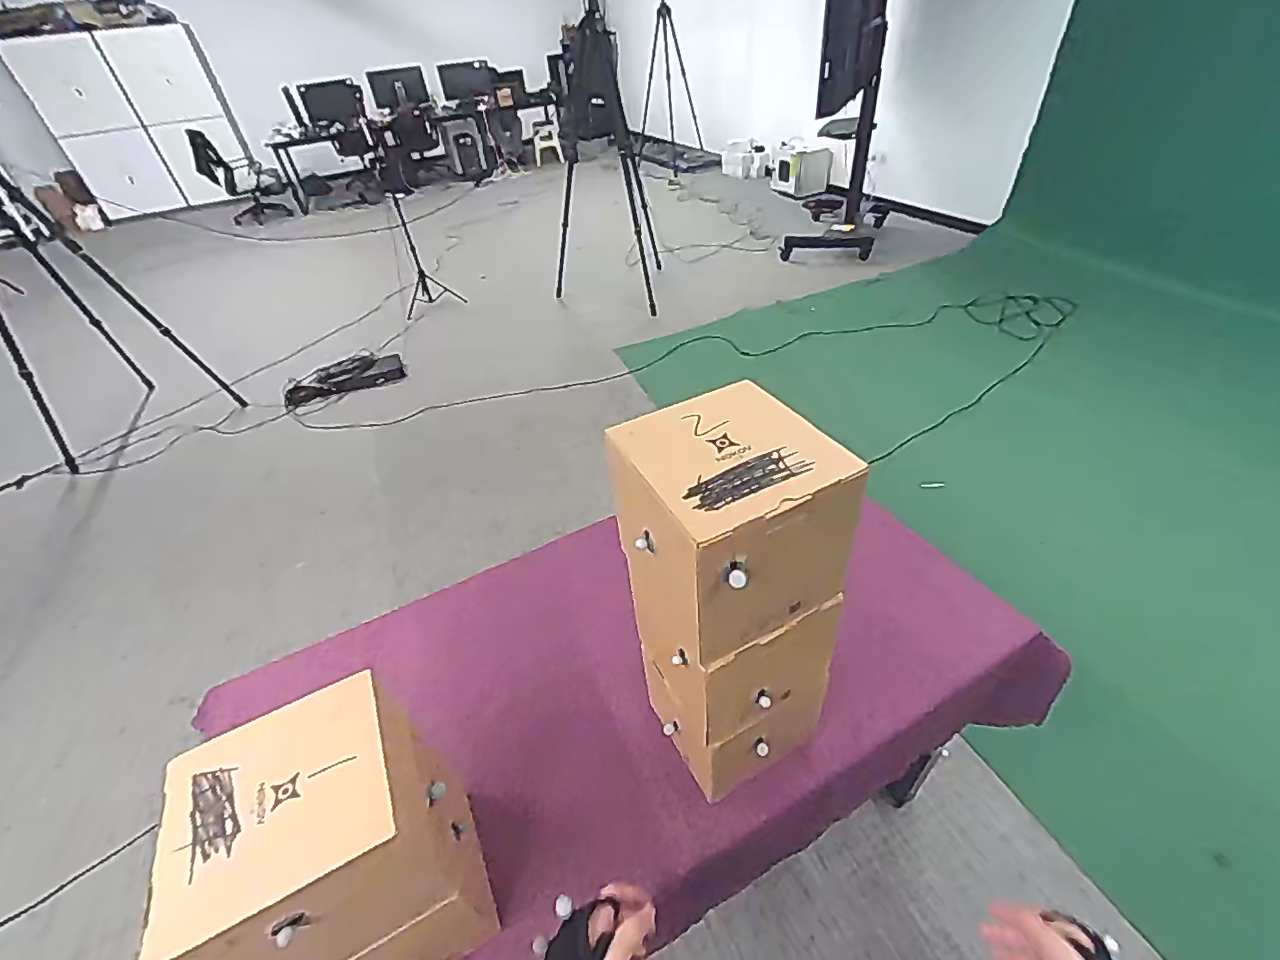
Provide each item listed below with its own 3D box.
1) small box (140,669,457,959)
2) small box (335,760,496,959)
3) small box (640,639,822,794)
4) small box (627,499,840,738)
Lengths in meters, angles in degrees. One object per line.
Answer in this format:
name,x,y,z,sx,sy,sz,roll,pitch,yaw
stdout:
small box,-0.294,0.320,0.501,0.179,0.176,0.168,-22,43,-18
small box,-0.278,0.443,0.609,0.168,0.176,0.179,-22,43,-18
small box,0.121,0.284,0.734,0.179,0.176,0.168,-24,44,-17
small box,0.099,0.158,0.632,0.168,0.176,0.179,-22,43,-17
